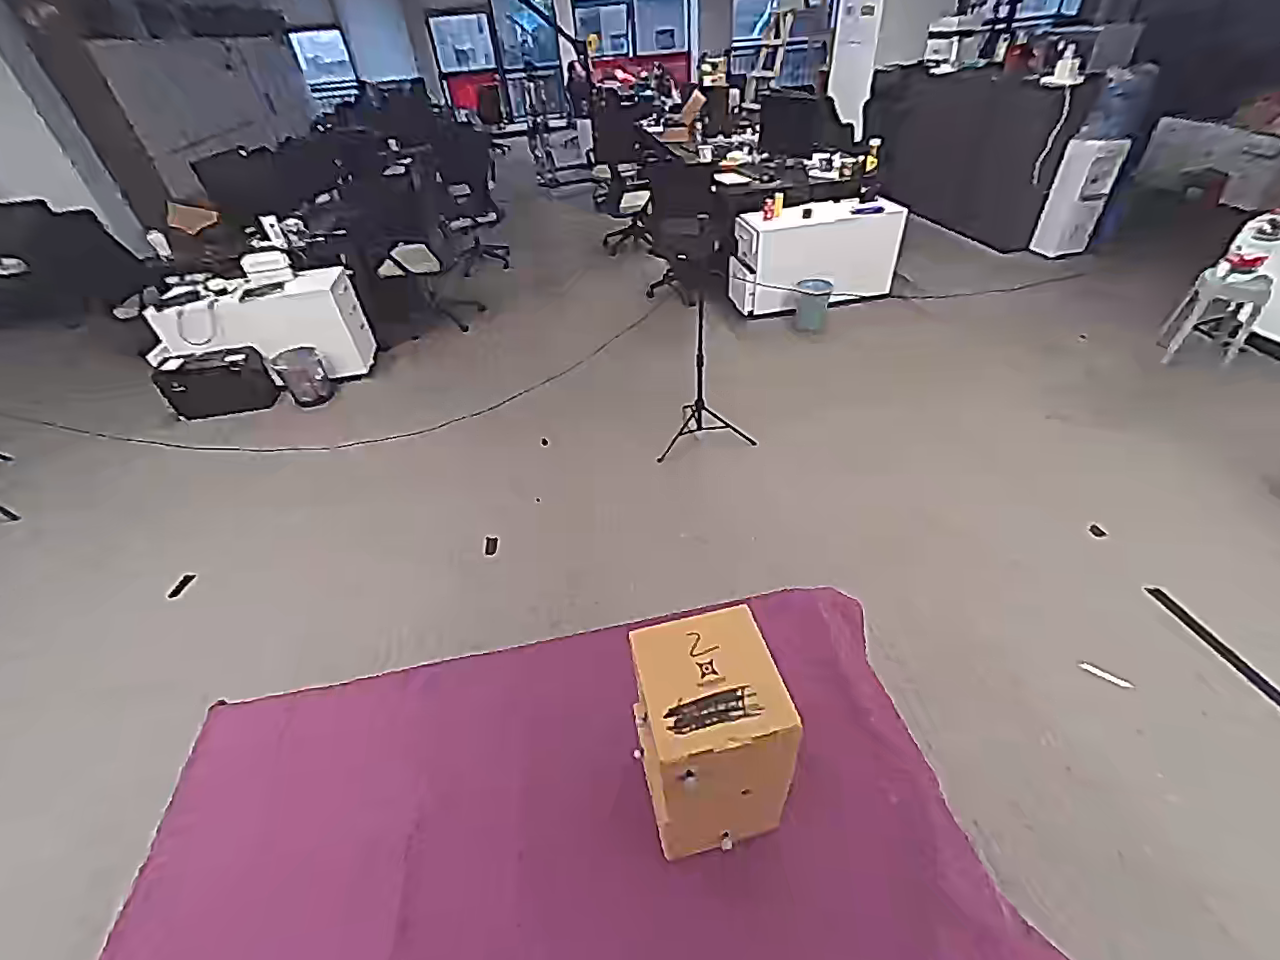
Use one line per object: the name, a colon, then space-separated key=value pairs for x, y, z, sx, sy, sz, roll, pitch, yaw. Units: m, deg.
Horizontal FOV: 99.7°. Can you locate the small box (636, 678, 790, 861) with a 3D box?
small box: x=0.098 y=0.425 z=0.799 sx=0.179 sy=0.176 sz=0.168 roll=-11 pitch=40 yaw=-8
